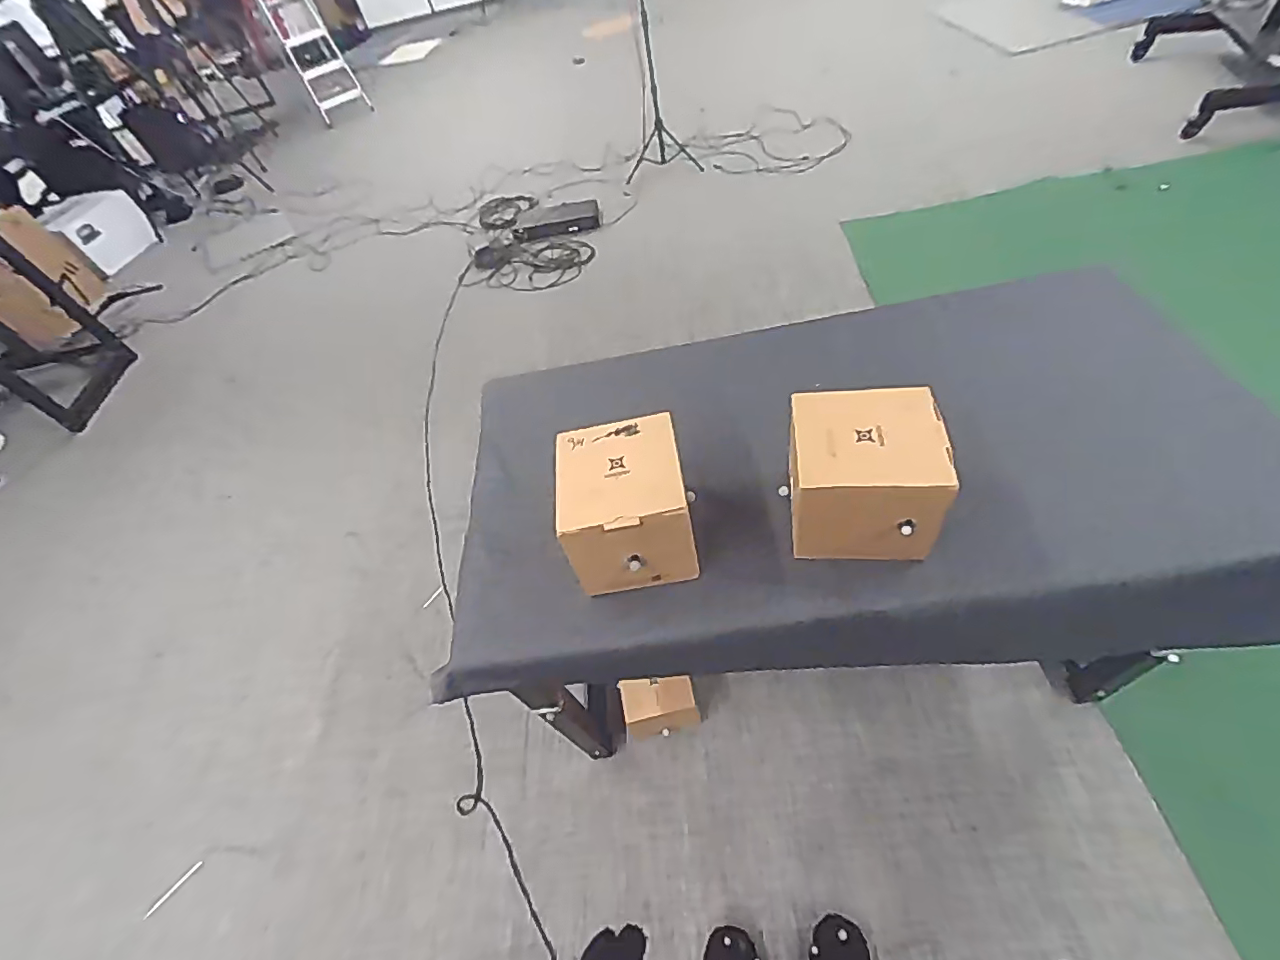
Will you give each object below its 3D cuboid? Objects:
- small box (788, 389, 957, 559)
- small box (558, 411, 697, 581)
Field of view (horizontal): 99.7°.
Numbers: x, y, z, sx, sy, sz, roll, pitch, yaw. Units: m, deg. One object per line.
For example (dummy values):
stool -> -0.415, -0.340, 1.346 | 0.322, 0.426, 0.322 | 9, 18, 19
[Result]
small box -> 0.298, -0.003, 0.738 | 0.179, 0.176, 0.168 | -1, 52, 13
small box -> -0.014, 0.031, 0.775 | 0.168, 0.176, 0.179 | -9, 51, 4
